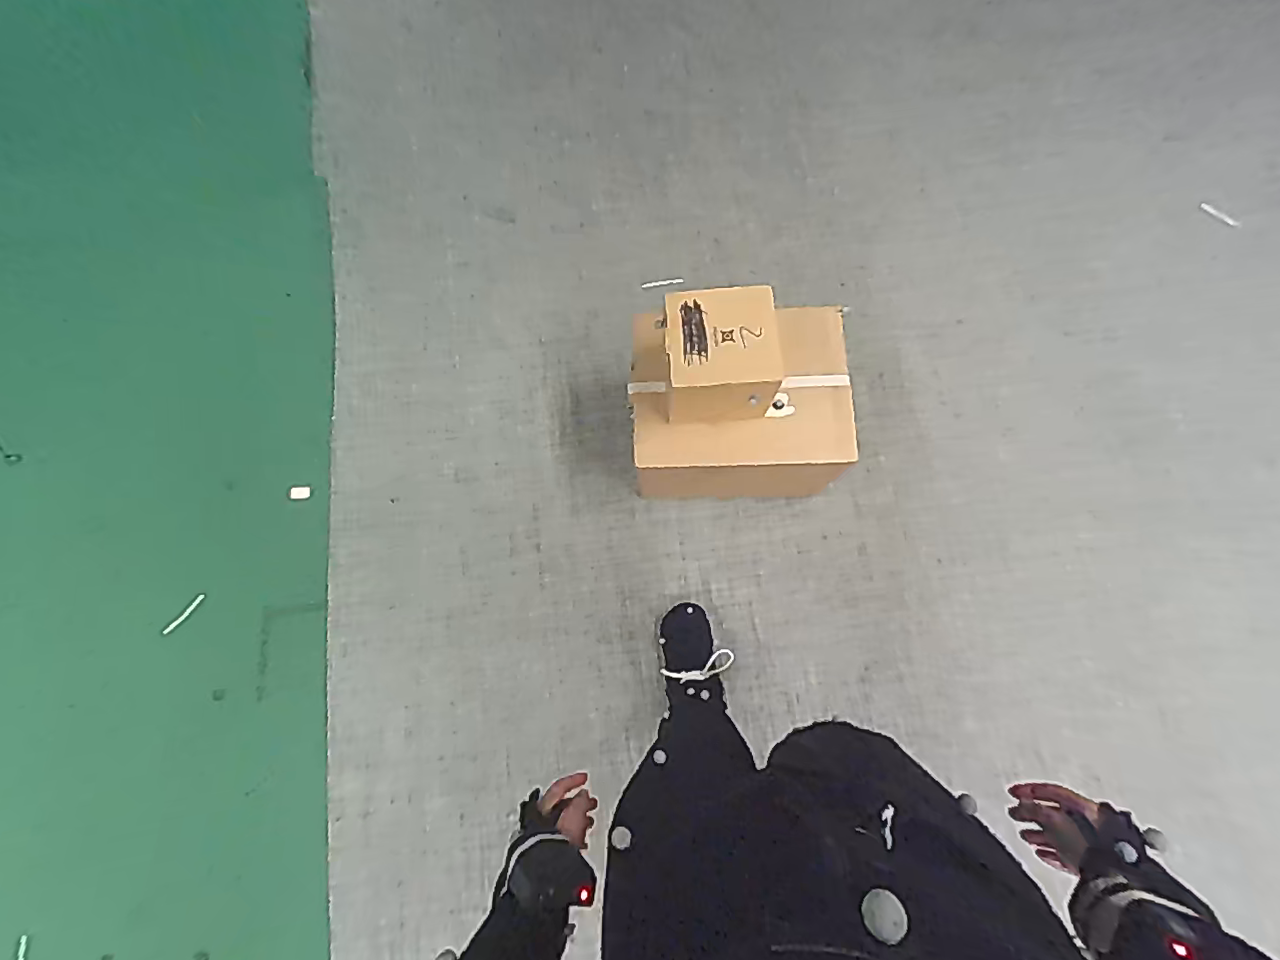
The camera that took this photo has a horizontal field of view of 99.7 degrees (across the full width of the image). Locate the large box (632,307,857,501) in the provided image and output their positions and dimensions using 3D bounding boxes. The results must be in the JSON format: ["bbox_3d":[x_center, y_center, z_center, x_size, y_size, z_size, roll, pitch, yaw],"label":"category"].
[{"bbox_3d":[0.193,-0.142,1.157,0.408,0.320,0.320,-2,77,2],"label":"large box"}]
